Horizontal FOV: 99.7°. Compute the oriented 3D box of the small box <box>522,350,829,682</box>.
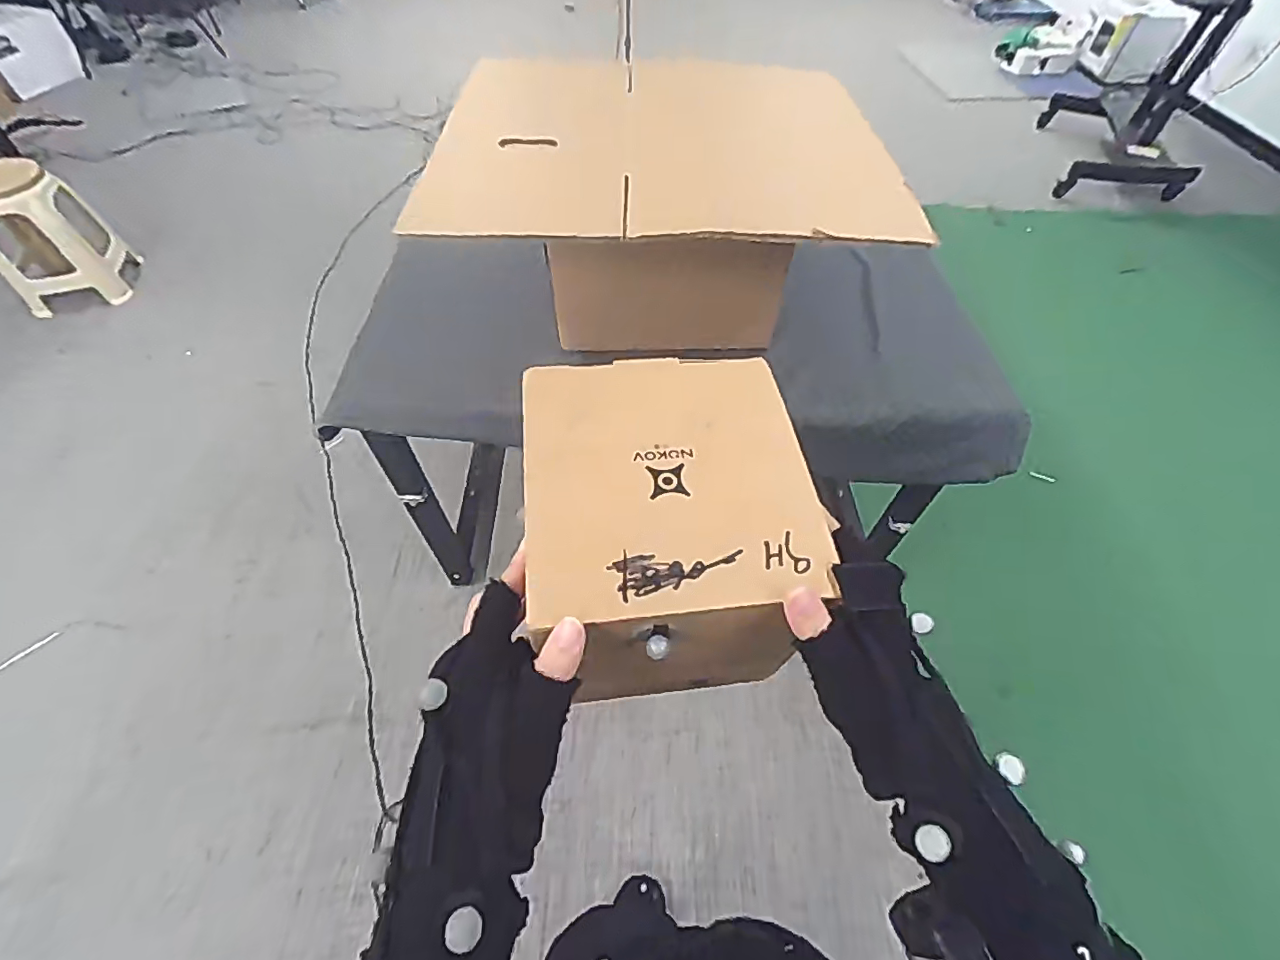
[{"bbox_3d":[0.008,0.029,0.394,0.168,0.176,0.179,-4,55,-6],"label":"small box"}]
